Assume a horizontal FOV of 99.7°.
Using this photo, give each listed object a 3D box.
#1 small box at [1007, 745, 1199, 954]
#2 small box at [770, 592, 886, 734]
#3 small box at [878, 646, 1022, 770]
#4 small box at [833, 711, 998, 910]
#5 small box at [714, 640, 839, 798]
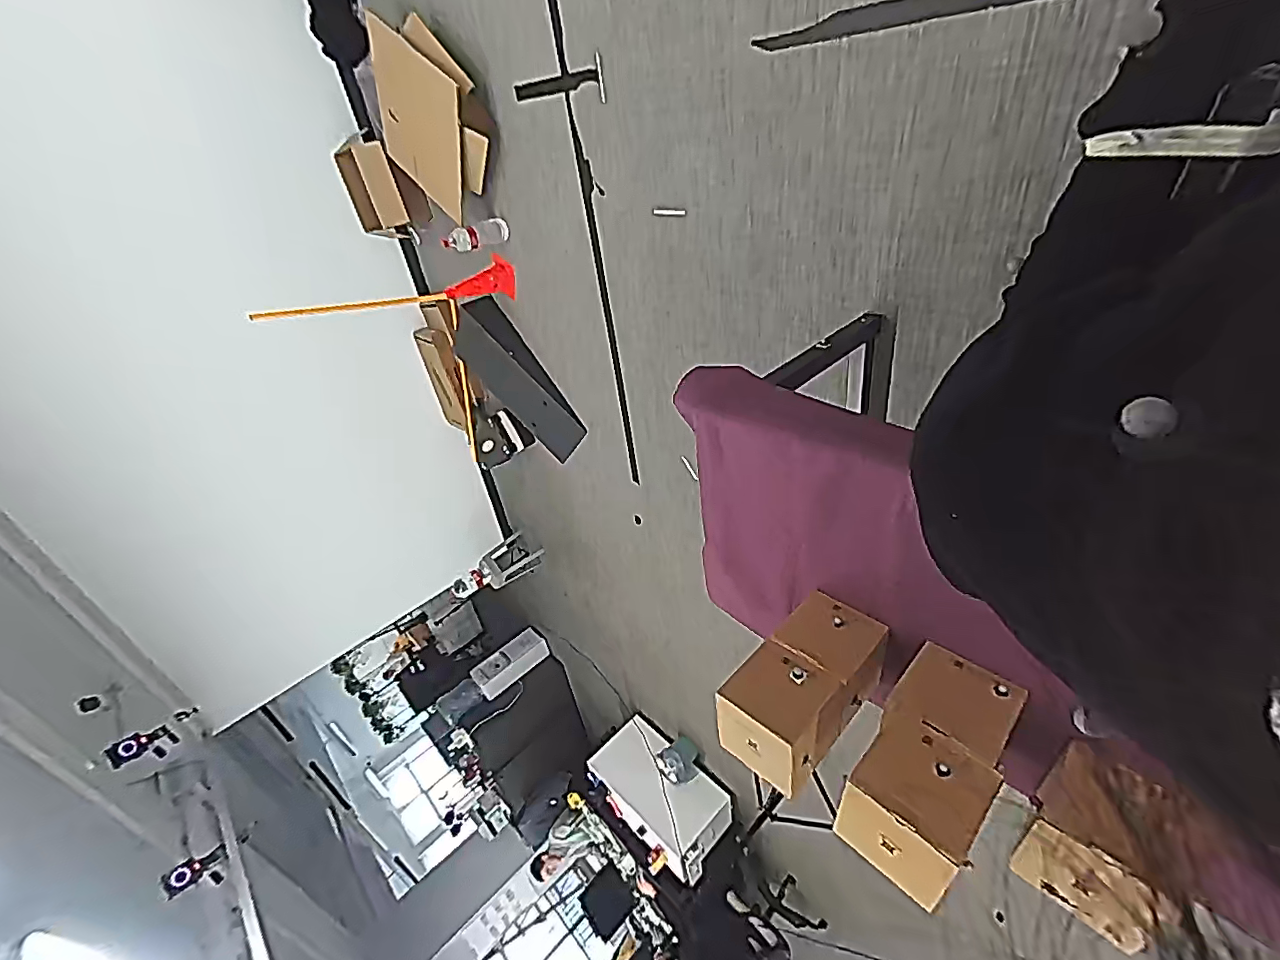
[{"bbox_3d":[0.704,0.551,0.826,0.168,0.176,0.179,28,136,39],"label":"small box"},{"bbox_3d":[0.381,0.368,1.107,0.168,0.176,0.179,25,135,39],"label":"small box"},{"bbox_3d":[0.538,0.429,0.948,0.168,0.176,0.179,26,137,40],"label":"small box"},{"bbox_3d":[0.432,0.513,0.856,0.168,0.176,0.179,28,137,38],"label":"small box"},{"bbox_3d":[0.262,0.445,1.028,0.168,0.176,0.179,23,134,41],"label":"small box"}]
